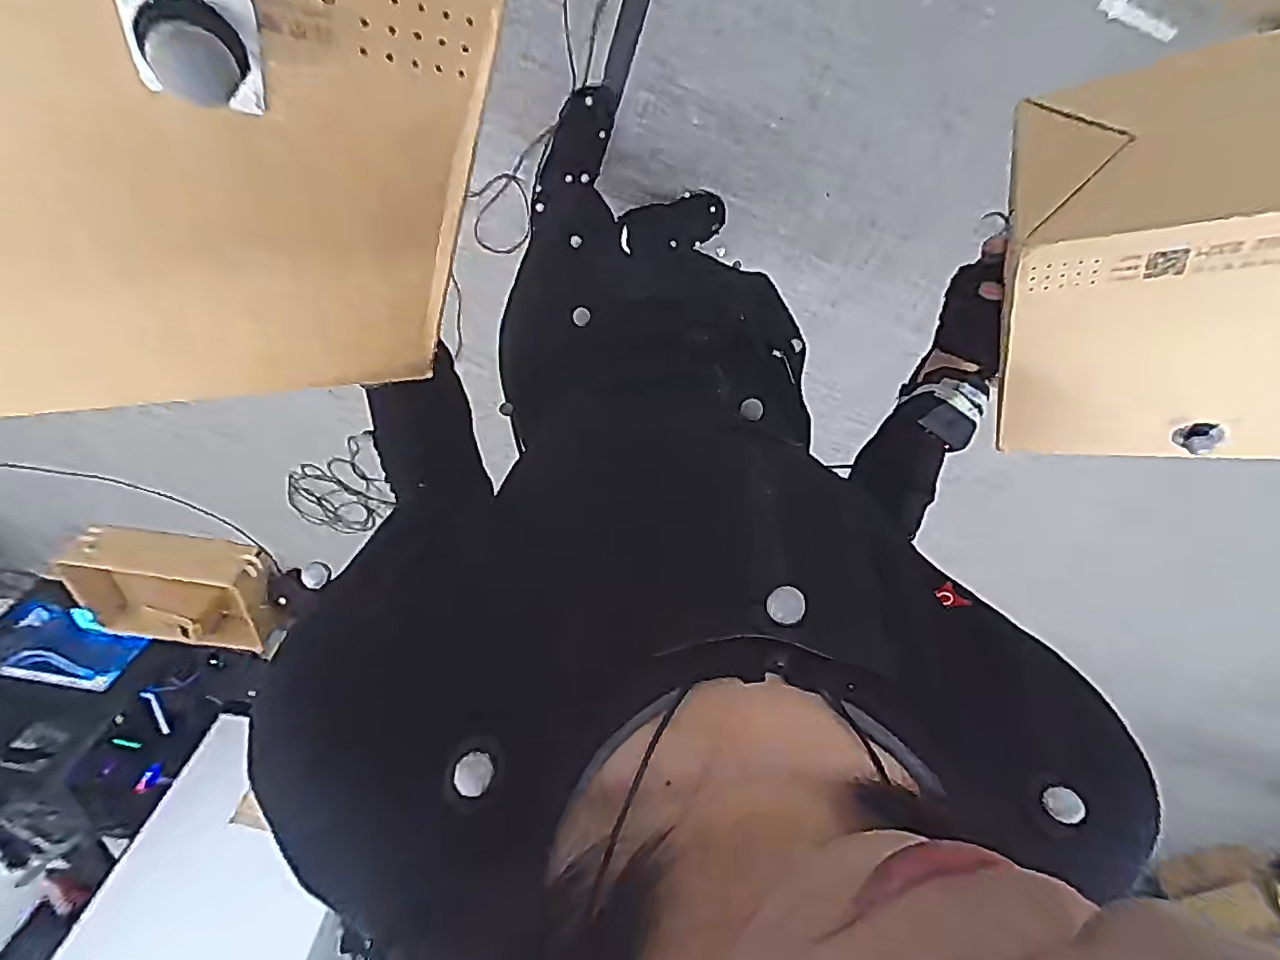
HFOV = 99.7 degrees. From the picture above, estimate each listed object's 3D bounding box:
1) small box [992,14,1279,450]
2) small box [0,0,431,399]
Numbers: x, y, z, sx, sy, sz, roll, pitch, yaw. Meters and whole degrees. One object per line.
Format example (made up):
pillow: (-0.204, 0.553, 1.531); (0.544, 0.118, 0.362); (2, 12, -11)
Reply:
small box: (0.315, -0.138, 0.323); (0.168, 0.179, 0.176); (3, 145, 33)
small box: (-0.174, -0.150, 0.171); (0.168, 0.179, 0.176); (-15, 156, -33)
